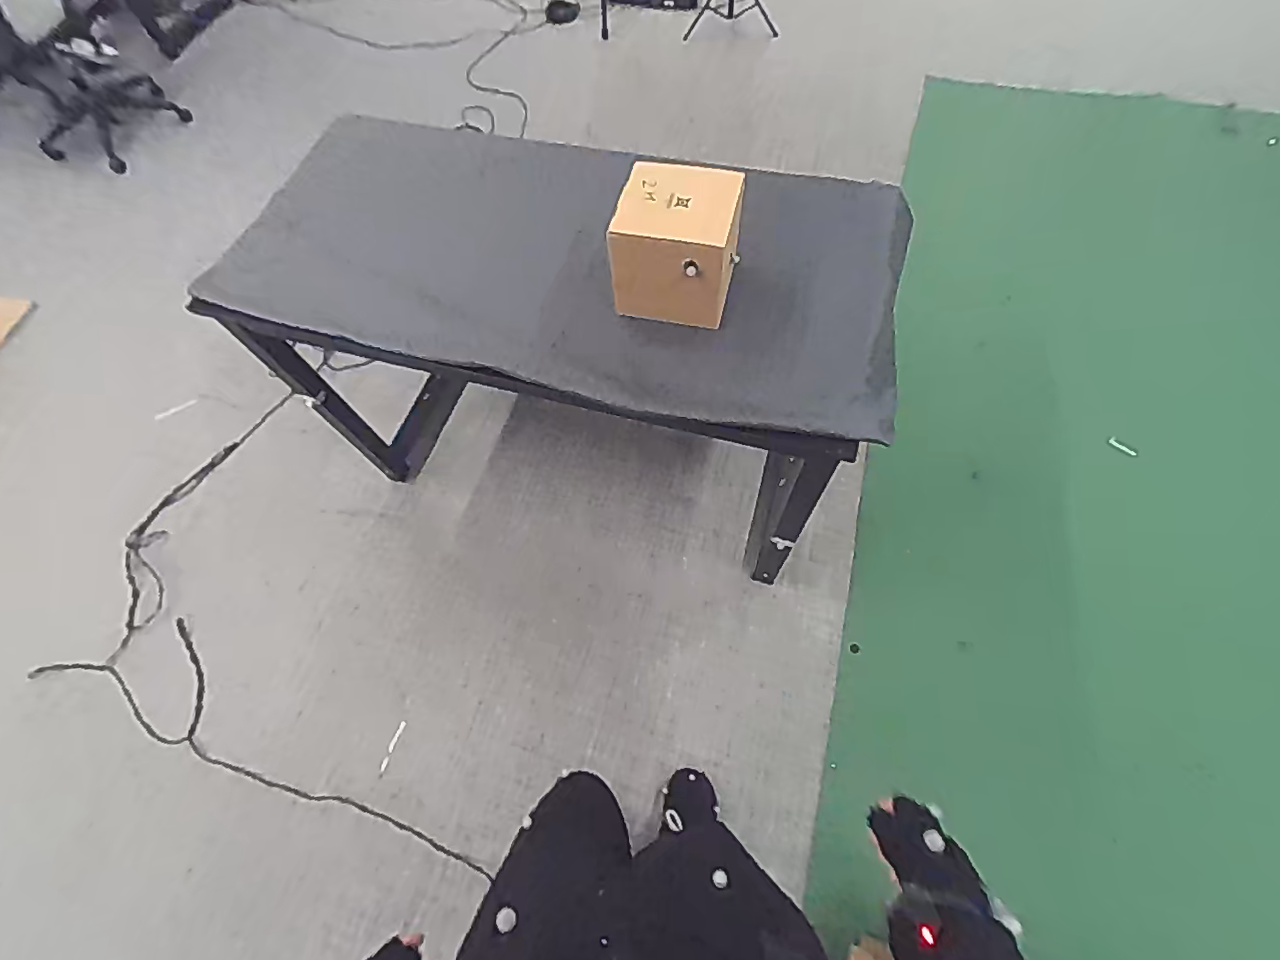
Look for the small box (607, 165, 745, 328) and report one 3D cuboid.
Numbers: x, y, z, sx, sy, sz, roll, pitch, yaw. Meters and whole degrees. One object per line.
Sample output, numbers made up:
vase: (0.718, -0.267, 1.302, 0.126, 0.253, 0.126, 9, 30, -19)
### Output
small box: (0.061, -0.369, 0.871, 0.179, 0.176, 0.168, 12, 64, 10)
